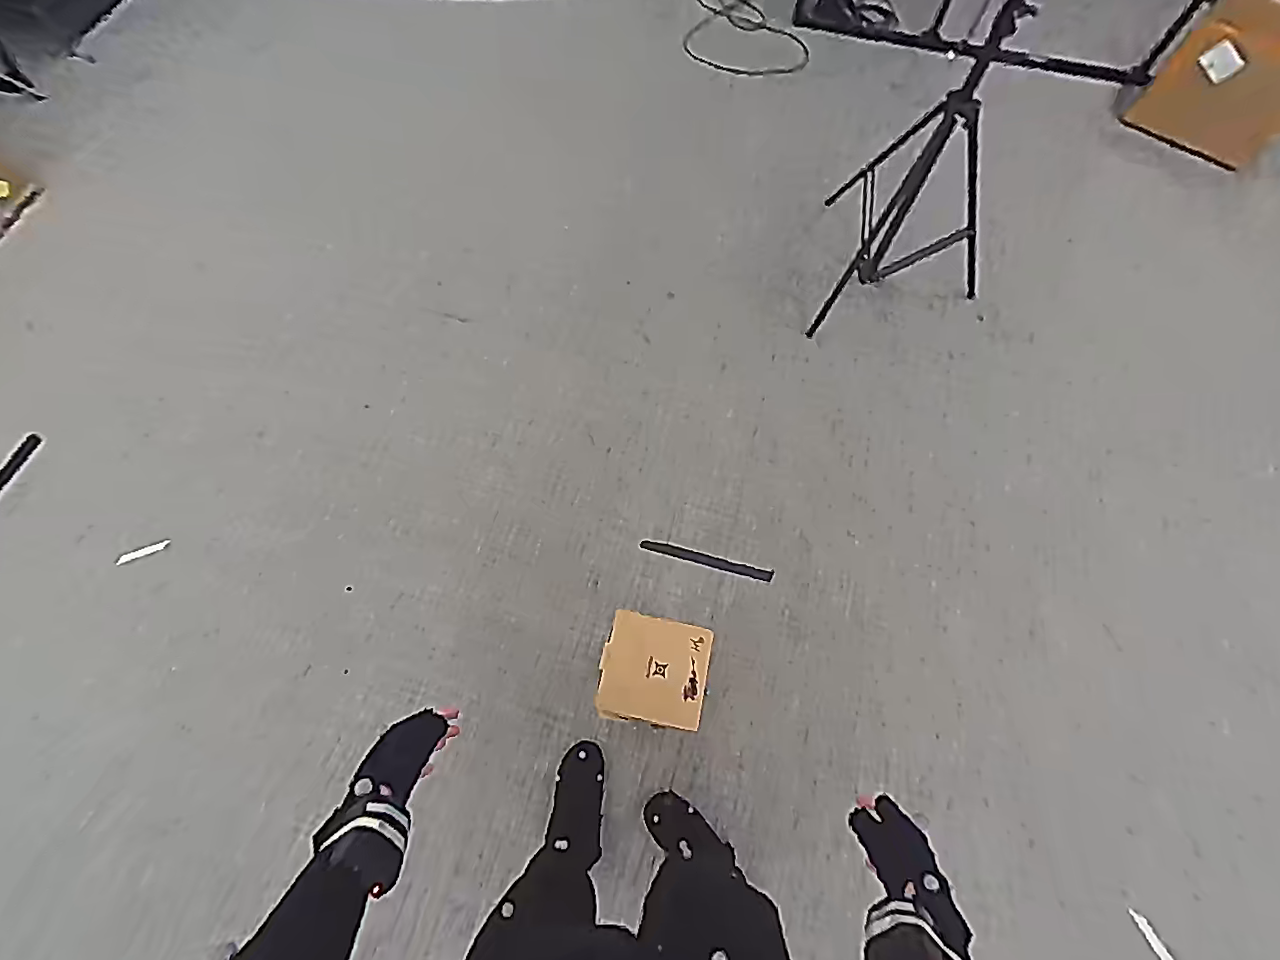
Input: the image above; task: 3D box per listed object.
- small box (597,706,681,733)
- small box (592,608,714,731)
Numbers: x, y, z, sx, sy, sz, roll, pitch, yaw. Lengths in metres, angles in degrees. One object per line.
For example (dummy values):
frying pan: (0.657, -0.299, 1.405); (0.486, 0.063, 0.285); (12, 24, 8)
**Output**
small box: (0.014, 0.411, 1.119); (0.168, 0.176, 0.179); (12, 67, 3)
small box: (0.024, 0.342, 0.971); (0.179, 0.176, 0.168); (12, 68, 4)
